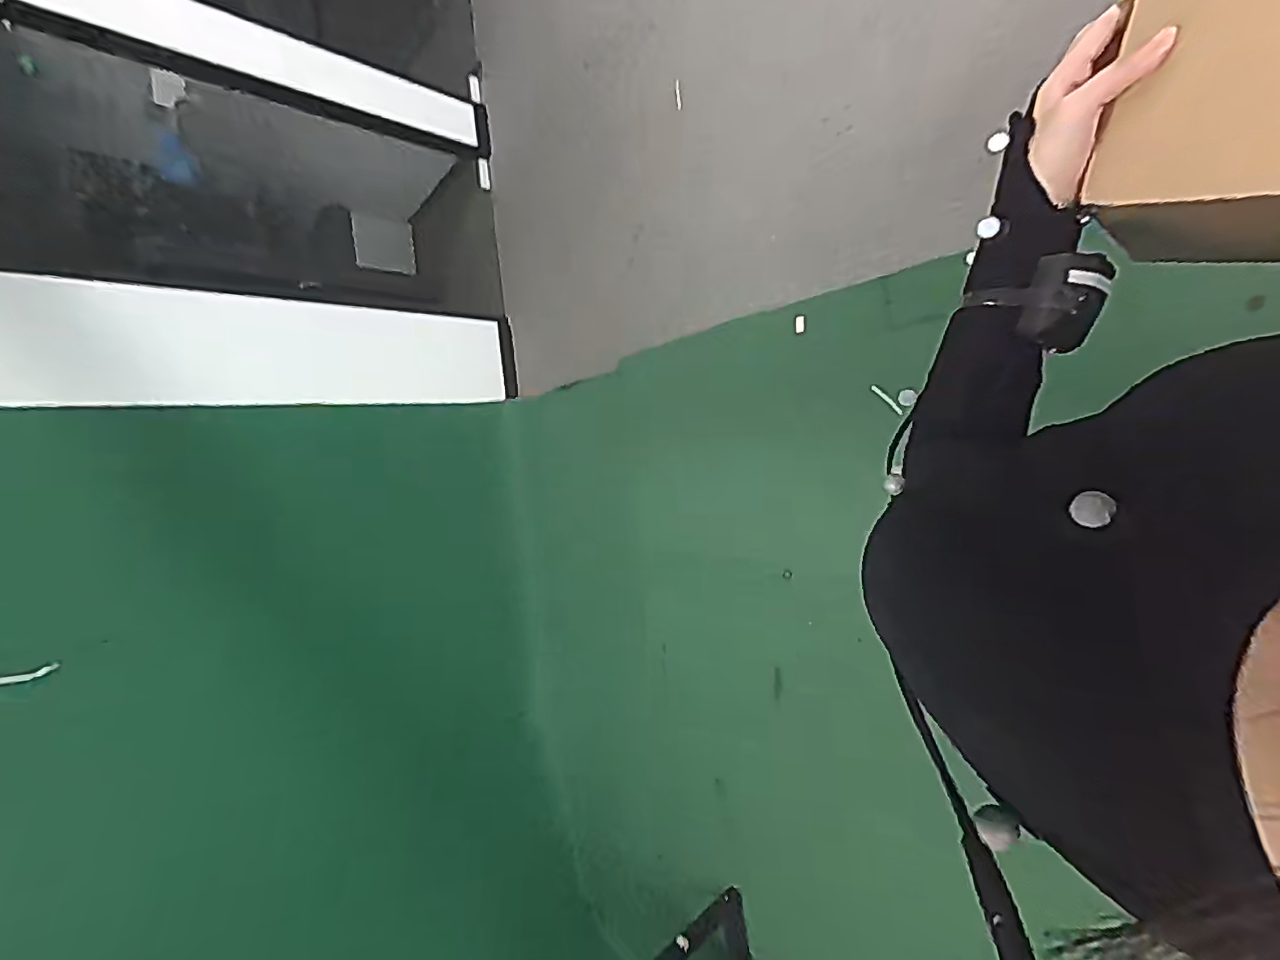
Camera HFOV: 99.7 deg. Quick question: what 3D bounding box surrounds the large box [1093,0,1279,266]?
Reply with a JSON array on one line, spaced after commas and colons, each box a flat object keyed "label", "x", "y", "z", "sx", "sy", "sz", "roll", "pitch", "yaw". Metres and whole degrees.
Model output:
[{"label": "large box", "x": 0.580, "y": -0.319, "z": 0.323, "sx": 0.408, "sy": 0.320, "sz": 0.320, "roll": 20, "pitch": 112, "yaw": 43}]
